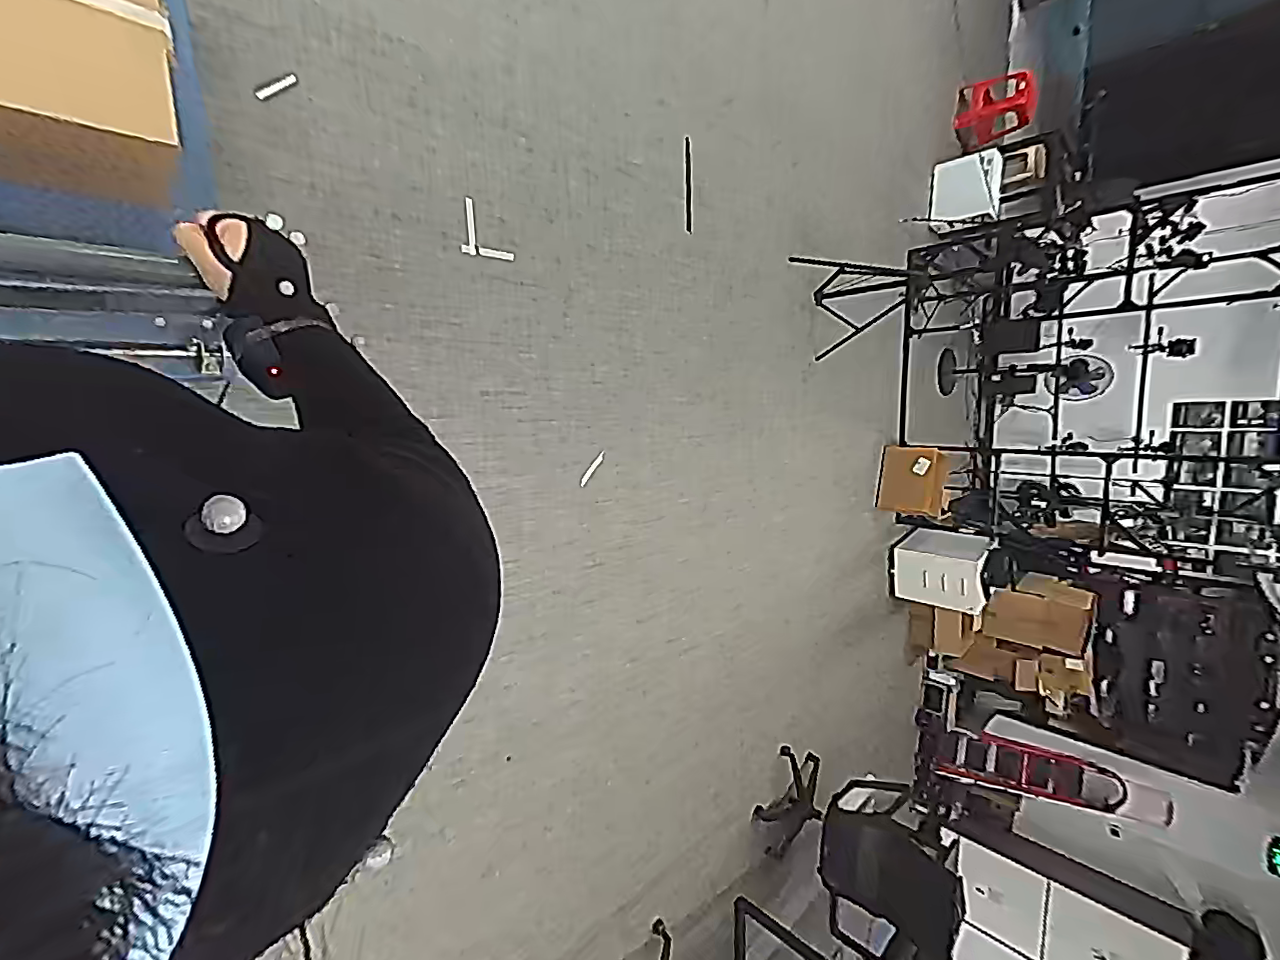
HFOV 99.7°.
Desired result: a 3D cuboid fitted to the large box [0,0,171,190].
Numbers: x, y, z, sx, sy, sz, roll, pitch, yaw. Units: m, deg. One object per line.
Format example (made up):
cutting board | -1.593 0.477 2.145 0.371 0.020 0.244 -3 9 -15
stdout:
large box | -0.926 -0.634 0.727 0.408 0.320 0.320 -10 101 -43
